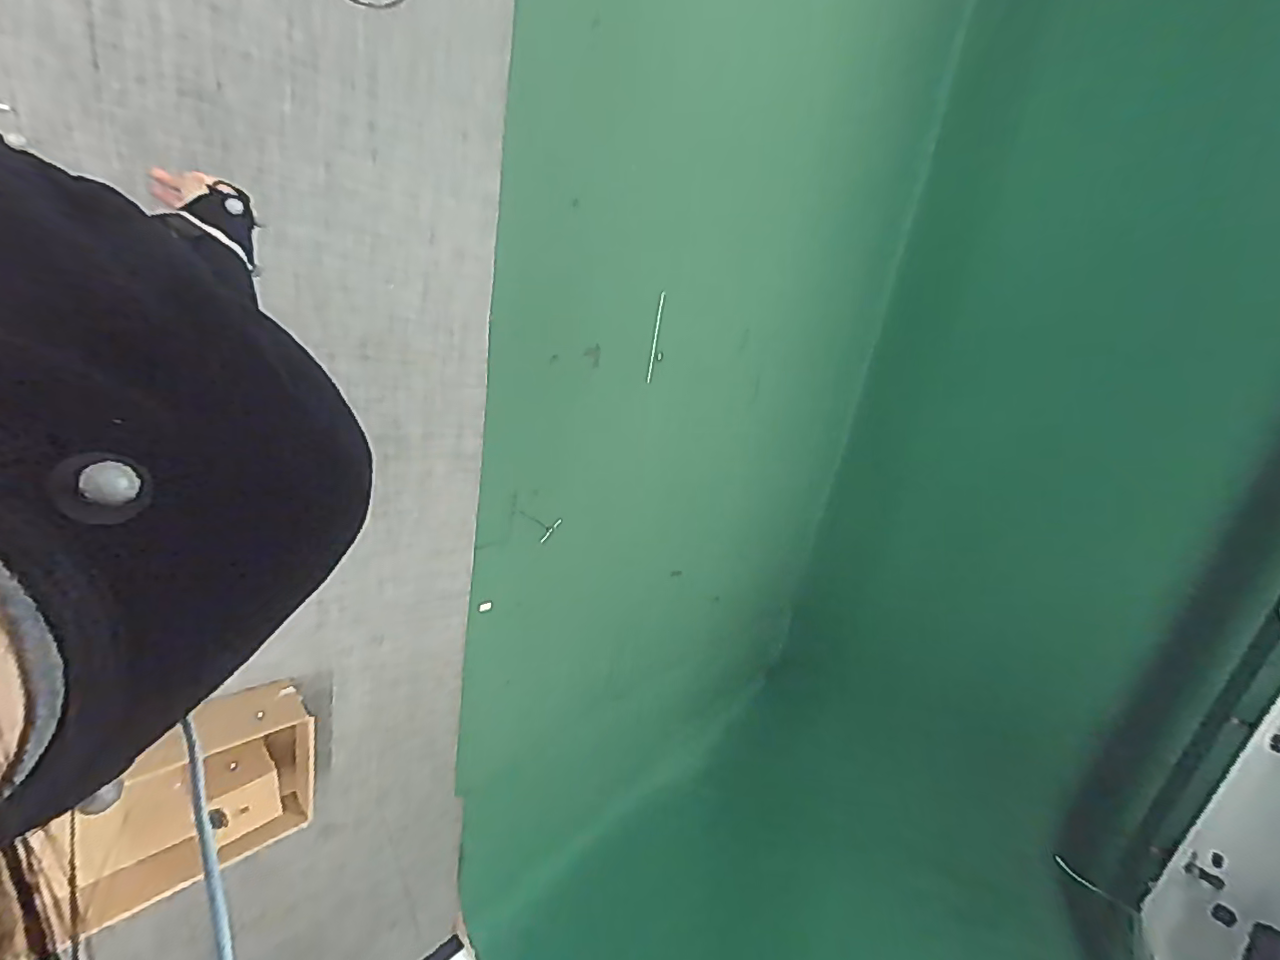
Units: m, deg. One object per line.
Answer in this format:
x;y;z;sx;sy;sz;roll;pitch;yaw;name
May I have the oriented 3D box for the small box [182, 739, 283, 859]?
-1.078;0.831;1.428;0.179;0.176;0.168;-16;120;-48;small box
